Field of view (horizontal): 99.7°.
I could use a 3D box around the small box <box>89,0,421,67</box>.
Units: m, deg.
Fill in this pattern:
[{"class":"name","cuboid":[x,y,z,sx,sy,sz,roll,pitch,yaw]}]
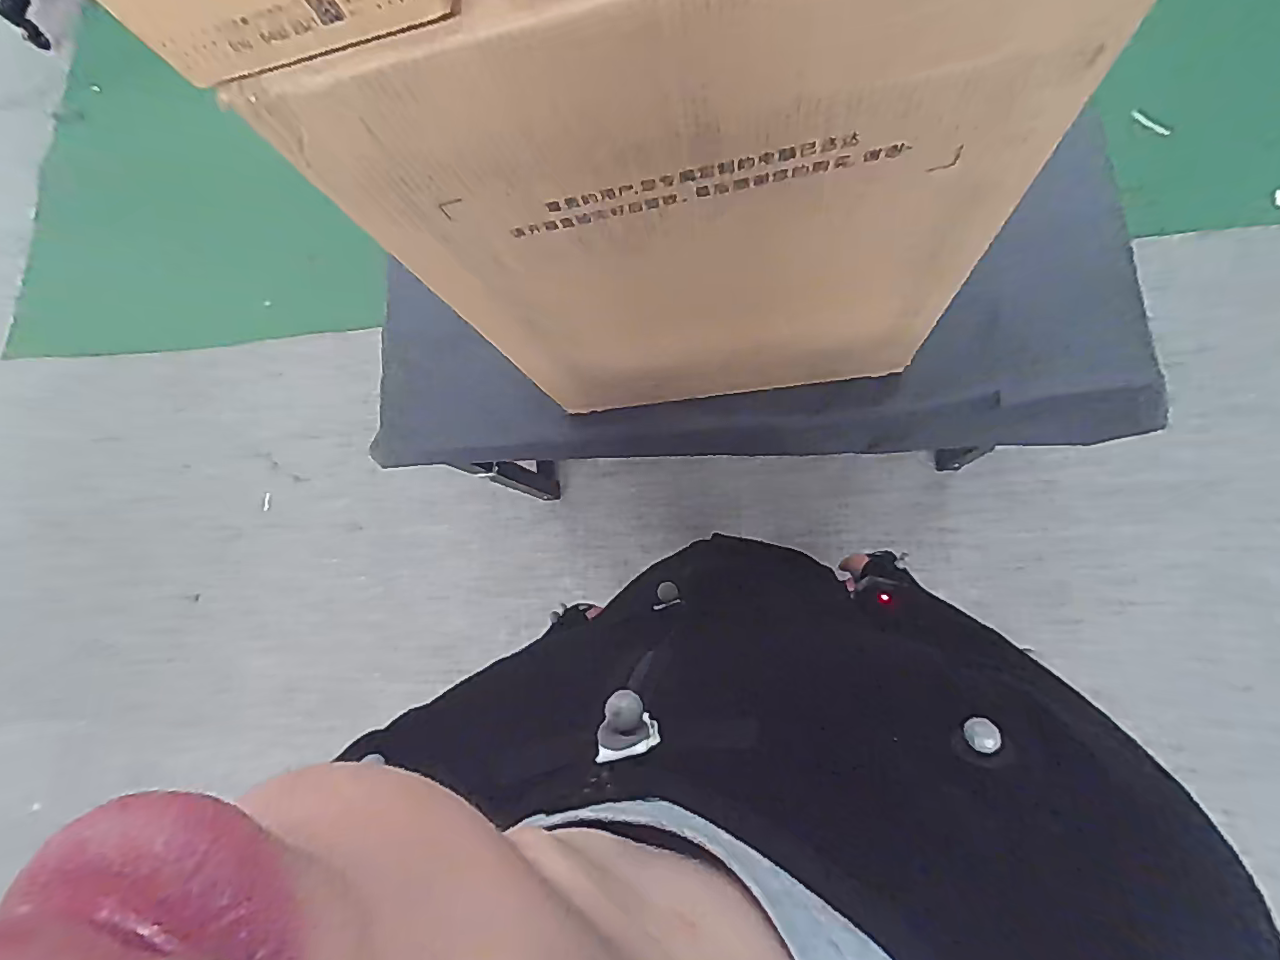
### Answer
[{"class":"small box","cuboid":[-0.207,-0.325,0.232,0.168,0.176,0.179,-5,80,12]}]
